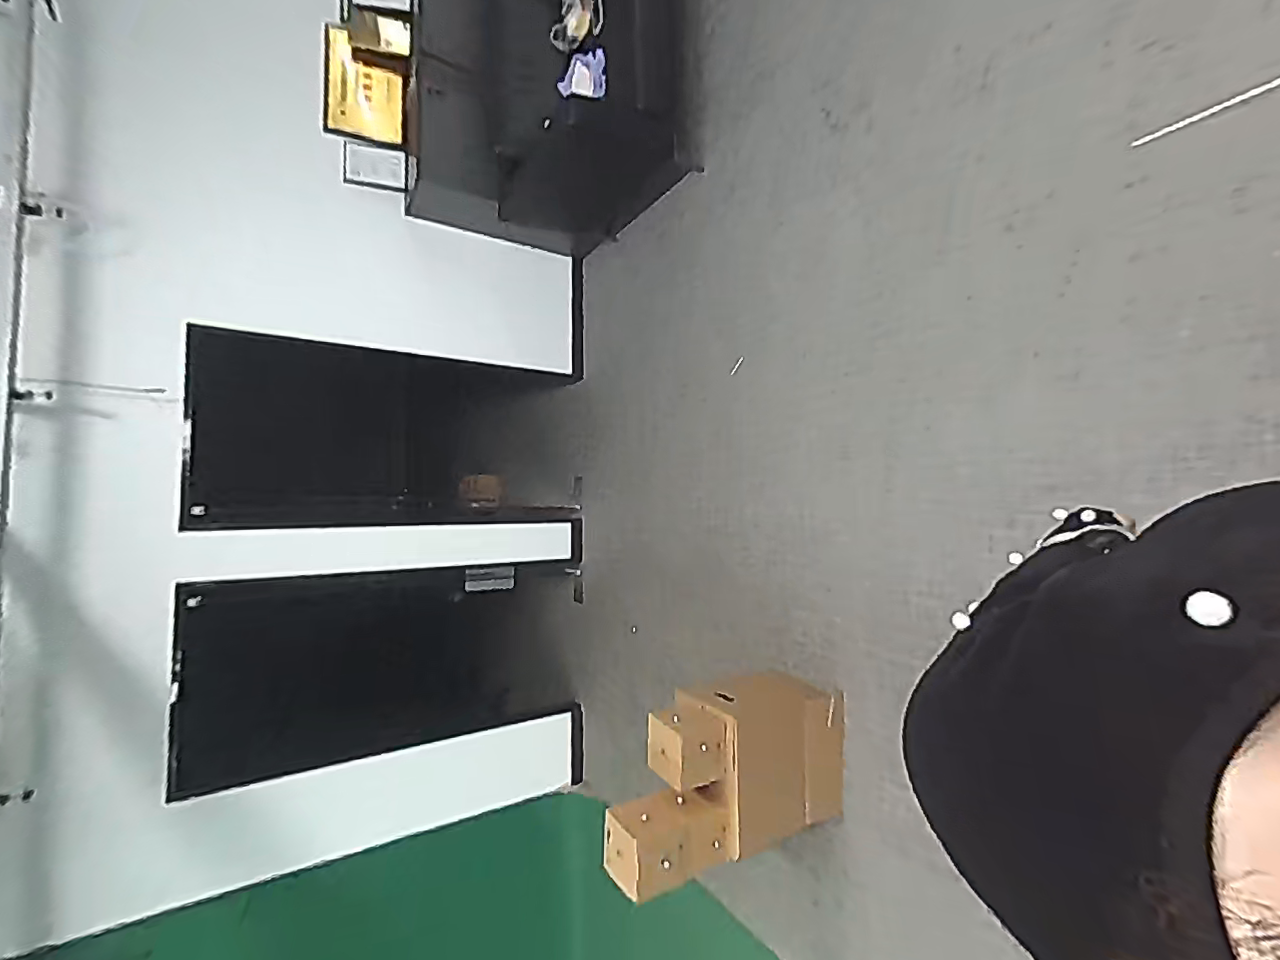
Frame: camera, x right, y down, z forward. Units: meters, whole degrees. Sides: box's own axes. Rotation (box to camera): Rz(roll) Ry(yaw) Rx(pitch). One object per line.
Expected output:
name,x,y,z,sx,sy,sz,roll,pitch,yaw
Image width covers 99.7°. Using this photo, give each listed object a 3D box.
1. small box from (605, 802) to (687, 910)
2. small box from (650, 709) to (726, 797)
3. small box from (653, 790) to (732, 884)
small box,0.018,1.046,1.526,0.179,0.176,0.168,-1,86,56
small box,0.145,0.817,1.639,0.179,0.176,0.168,2,91,59
small box,0.153,1.052,1.619,0.179,0.176,0.168,-3,85,56
